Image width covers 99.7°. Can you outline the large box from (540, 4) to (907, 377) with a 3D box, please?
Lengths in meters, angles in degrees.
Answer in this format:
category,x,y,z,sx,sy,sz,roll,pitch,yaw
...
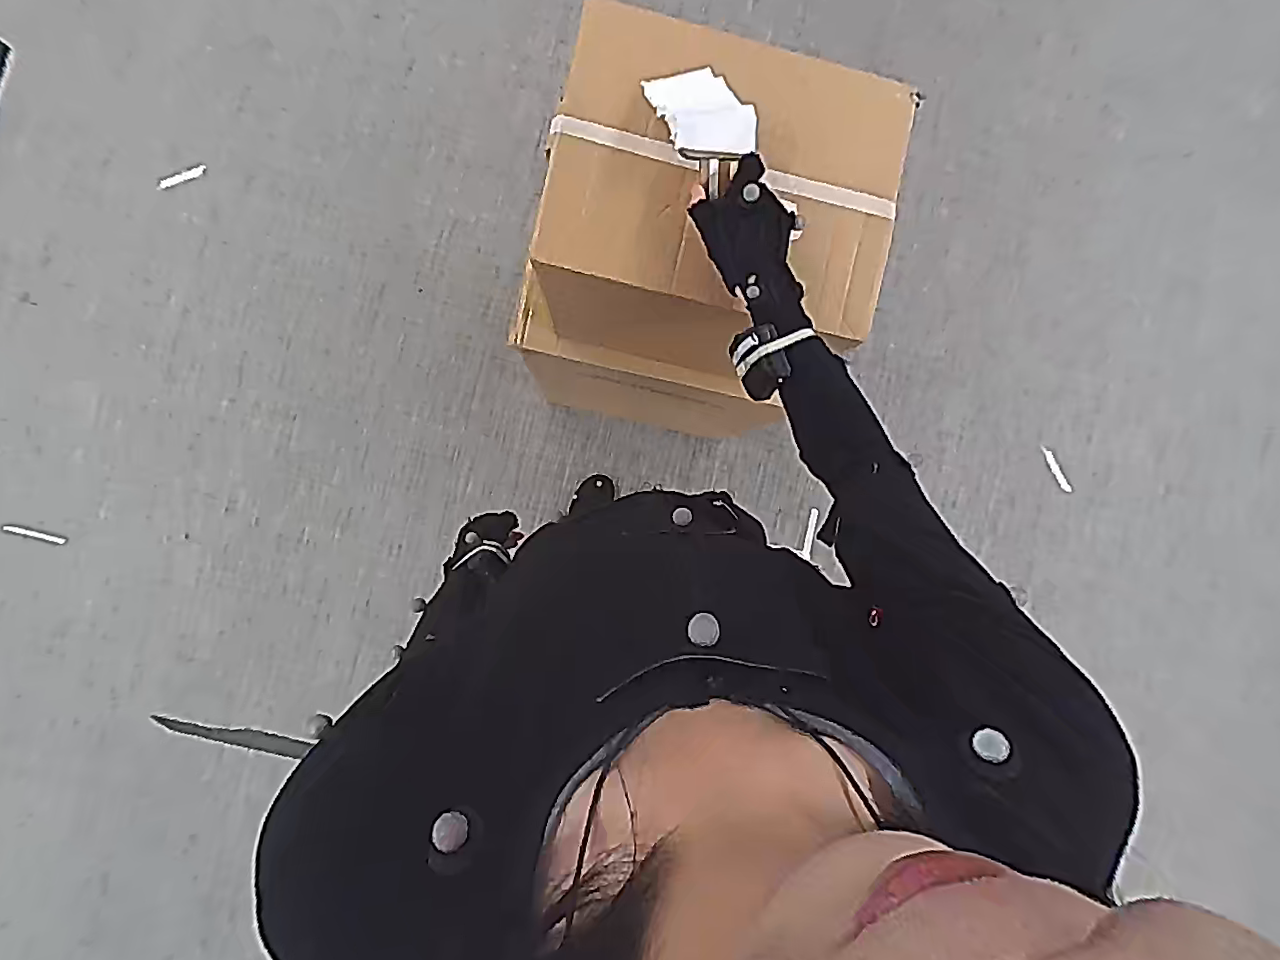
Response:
category,x,y,z,sx,sy,sz,roll,pitch,yaw
large box,0.091,-0.366,0.787,0.408,0.320,0.320,12,89,-5
